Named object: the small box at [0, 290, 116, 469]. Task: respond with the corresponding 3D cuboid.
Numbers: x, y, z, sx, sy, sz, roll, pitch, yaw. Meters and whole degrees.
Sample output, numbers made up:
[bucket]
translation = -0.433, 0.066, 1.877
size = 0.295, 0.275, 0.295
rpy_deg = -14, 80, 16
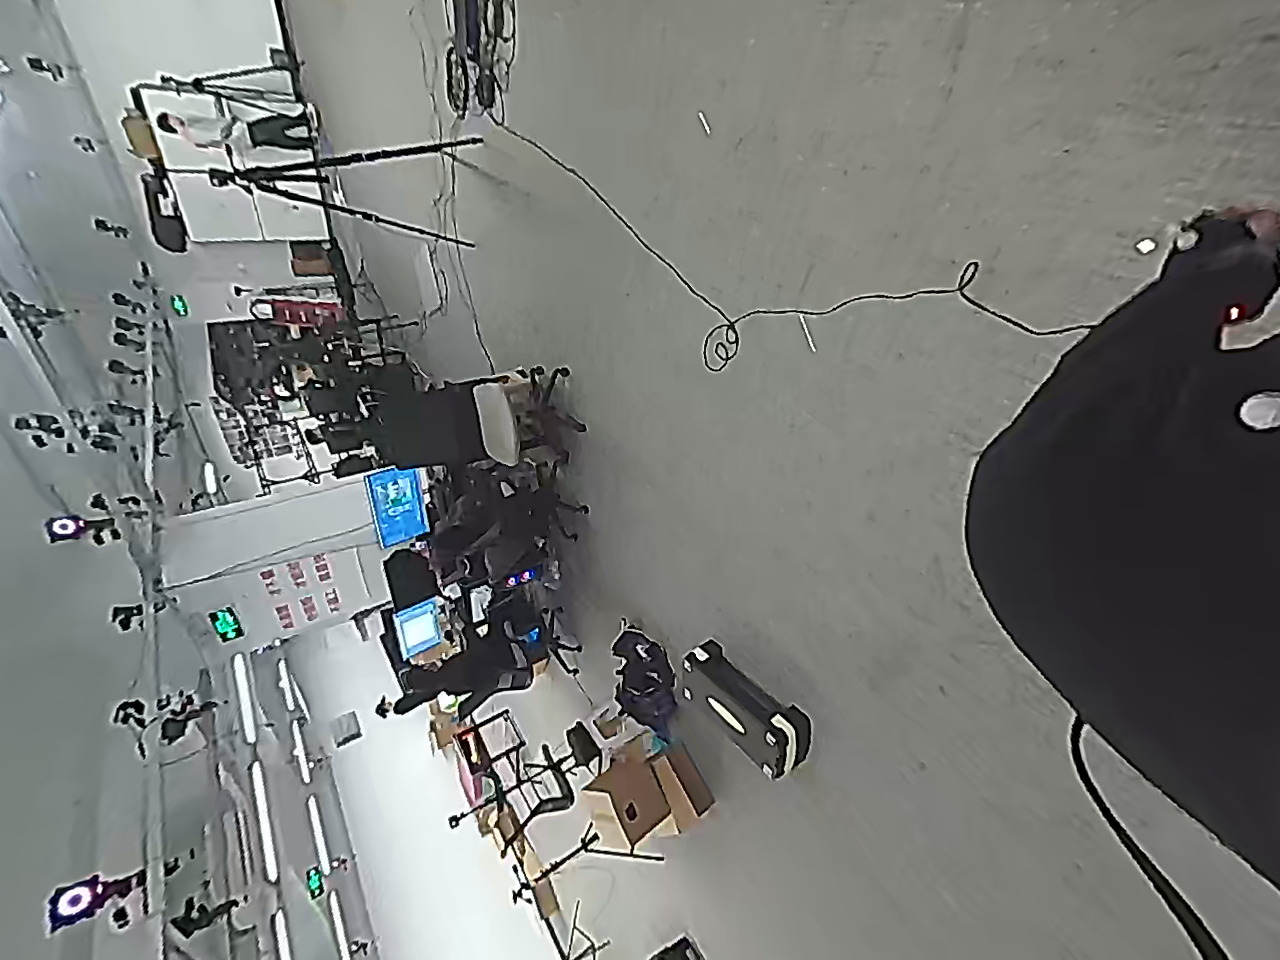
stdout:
[small box]
translation = -0.881, -0.142, 0.744
size = 0.168, 0.176, 0.179
rpy_deg = -23, 153, -30
